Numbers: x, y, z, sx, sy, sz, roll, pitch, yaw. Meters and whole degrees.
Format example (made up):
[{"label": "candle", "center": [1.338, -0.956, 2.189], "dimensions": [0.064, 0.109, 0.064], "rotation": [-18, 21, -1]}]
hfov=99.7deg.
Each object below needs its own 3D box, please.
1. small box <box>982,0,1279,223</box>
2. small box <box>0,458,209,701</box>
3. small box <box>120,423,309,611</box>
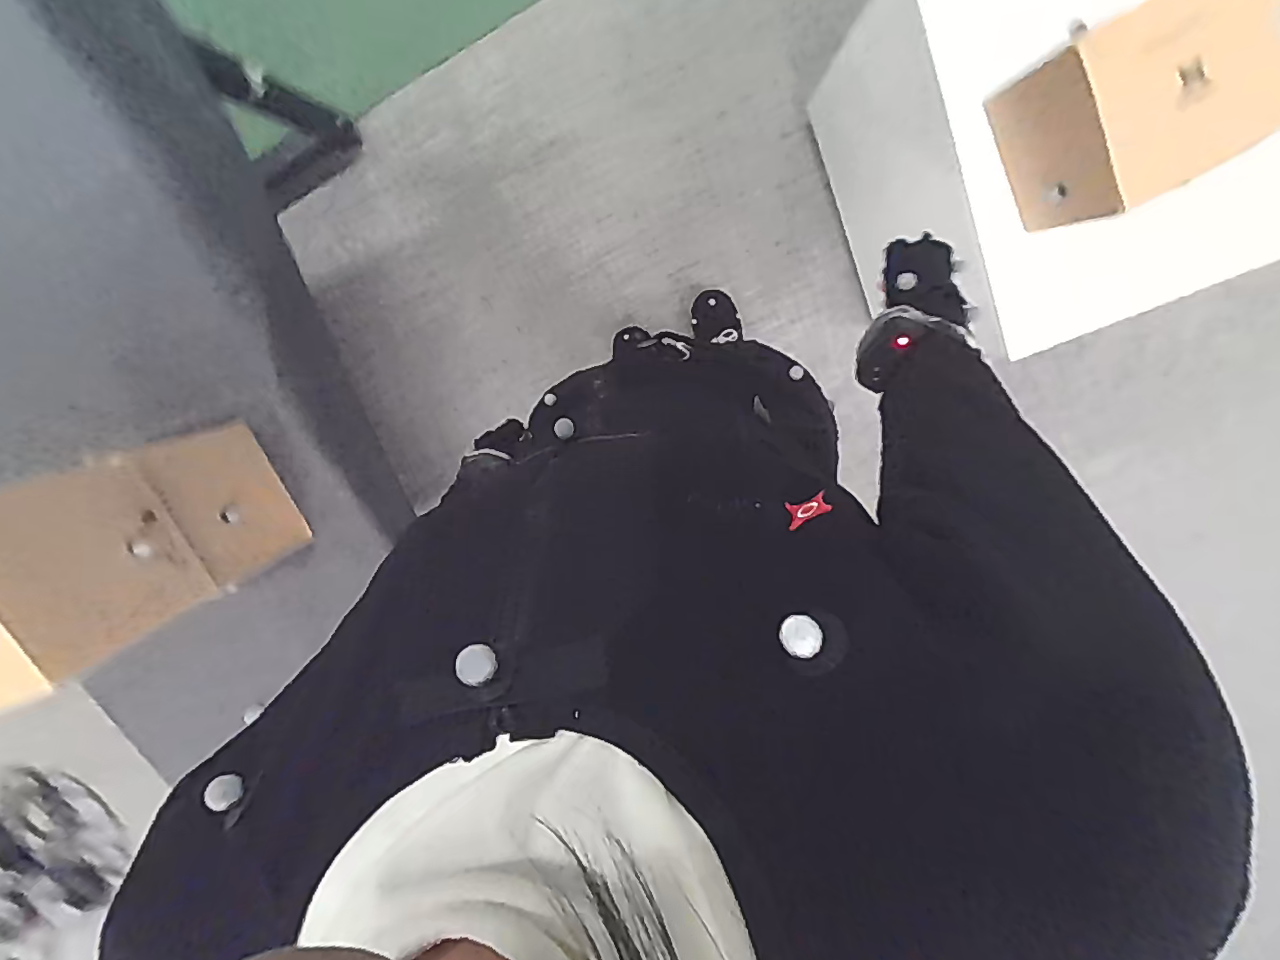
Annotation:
[{"label": "small box", "center": [0.504, -0.392, 0.565], "dimensions": [0.168, 0.176, 0.179], "rotation": [-28, 103, 13]}, {"label": "small box", "center": [-0.584, 0.098, 0.521], "dimensions": [0.179, 0.176, 0.168], "rotation": [-22, 104, 14]}, {"label": "small box", "center": [-0.568, 0.048, 0.678], "dimensions": [0.168, 0.176, 0.179], "rotation": [-20, 106, 12]}]
